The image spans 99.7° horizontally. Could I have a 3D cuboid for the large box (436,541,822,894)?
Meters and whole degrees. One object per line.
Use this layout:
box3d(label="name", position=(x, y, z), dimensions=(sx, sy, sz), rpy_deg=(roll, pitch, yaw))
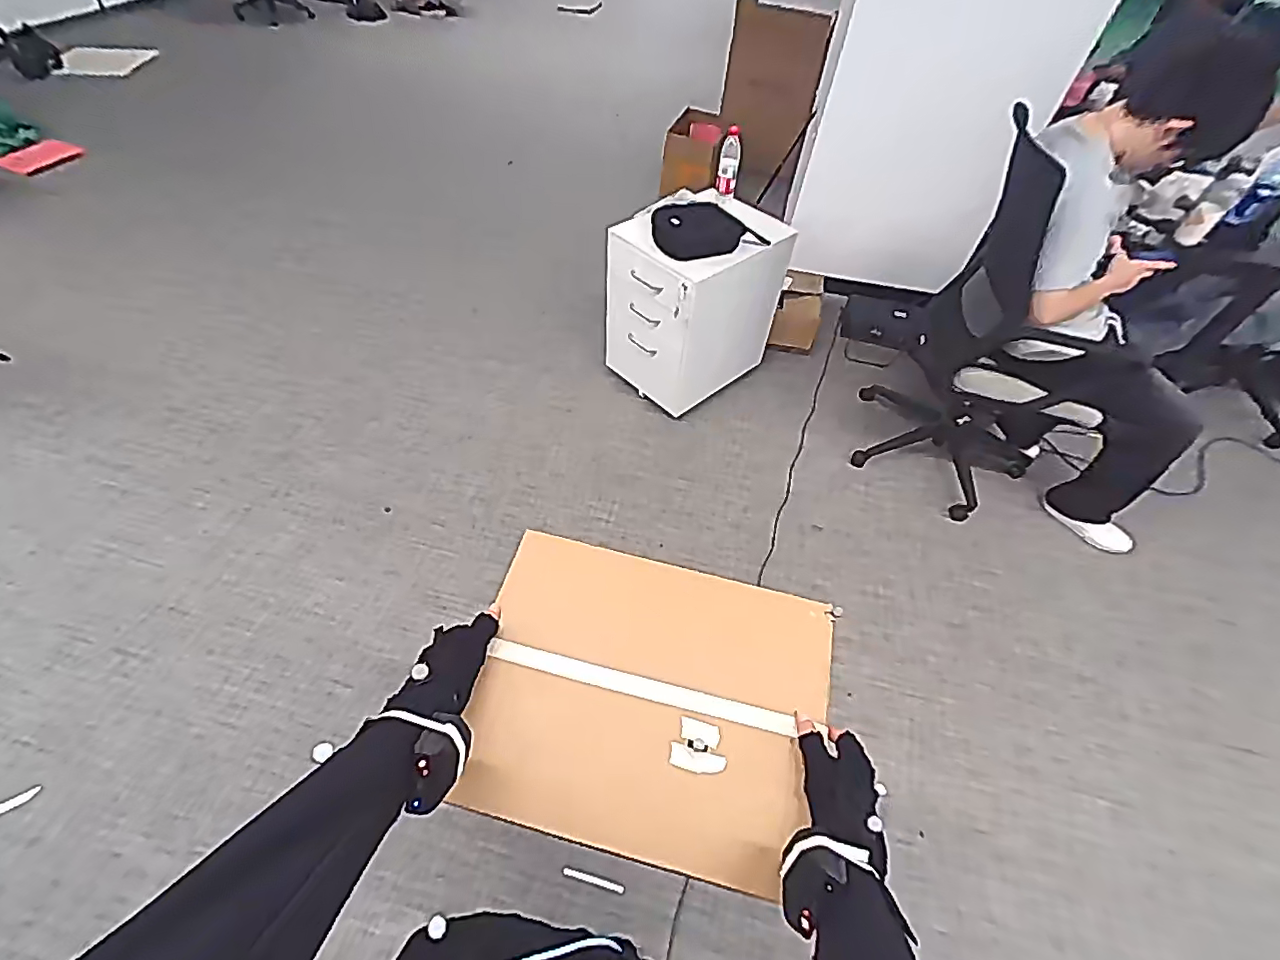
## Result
box3d(label="large box", position=(-0.002, 0.328, 0.754), dimensions=(0.408, 0.320, 0.320), rpy_deg=(14, 57, 4))
